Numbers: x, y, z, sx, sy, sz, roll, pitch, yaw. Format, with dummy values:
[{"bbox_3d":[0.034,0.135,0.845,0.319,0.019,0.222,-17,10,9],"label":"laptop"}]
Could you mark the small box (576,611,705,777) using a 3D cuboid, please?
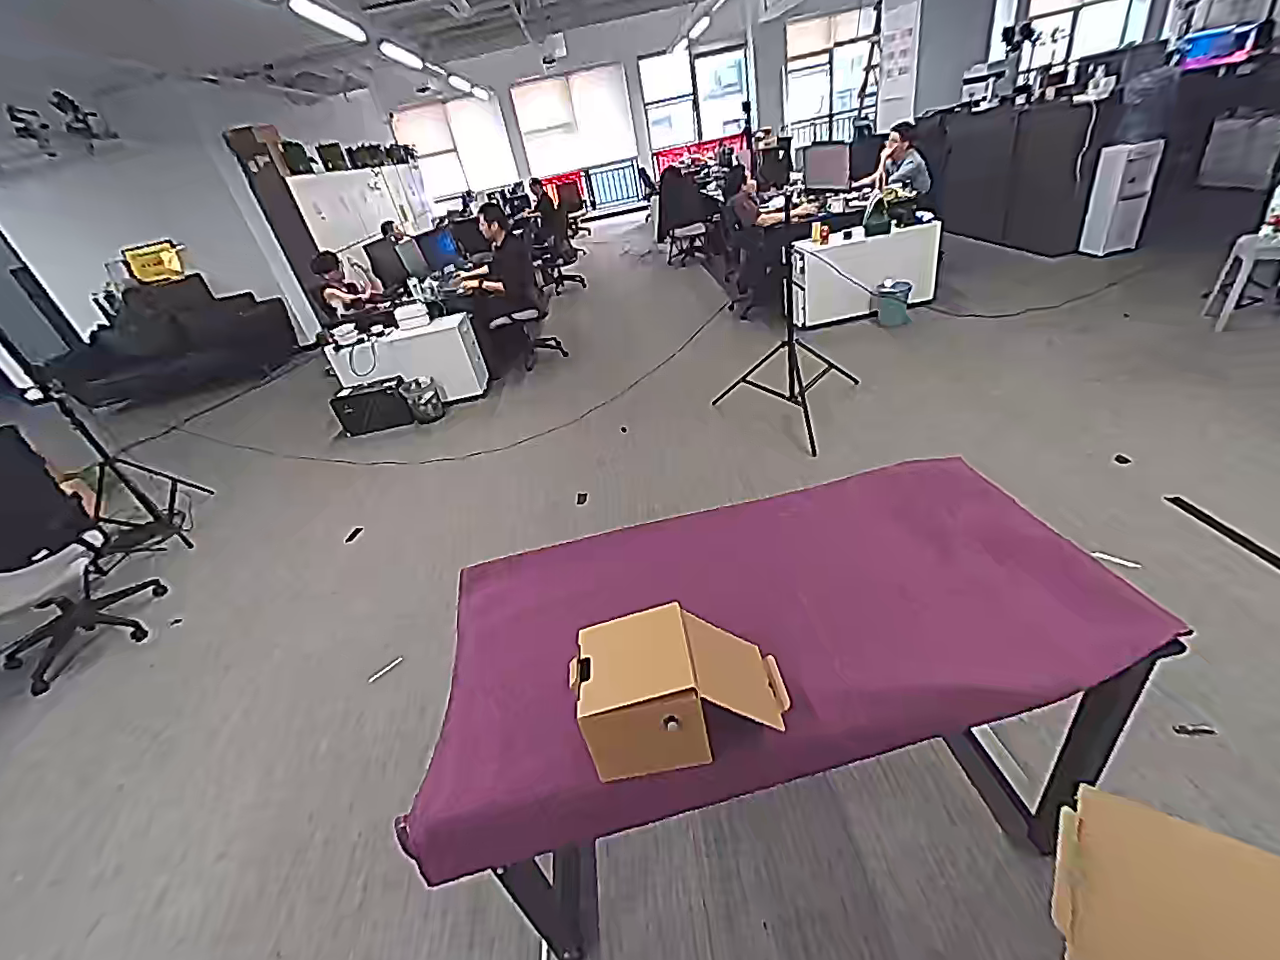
[{"bbox_3d":[0.004,0.340,0.861,0.179,0.176,0.168,-12,31,2],"label":"small box"}]
